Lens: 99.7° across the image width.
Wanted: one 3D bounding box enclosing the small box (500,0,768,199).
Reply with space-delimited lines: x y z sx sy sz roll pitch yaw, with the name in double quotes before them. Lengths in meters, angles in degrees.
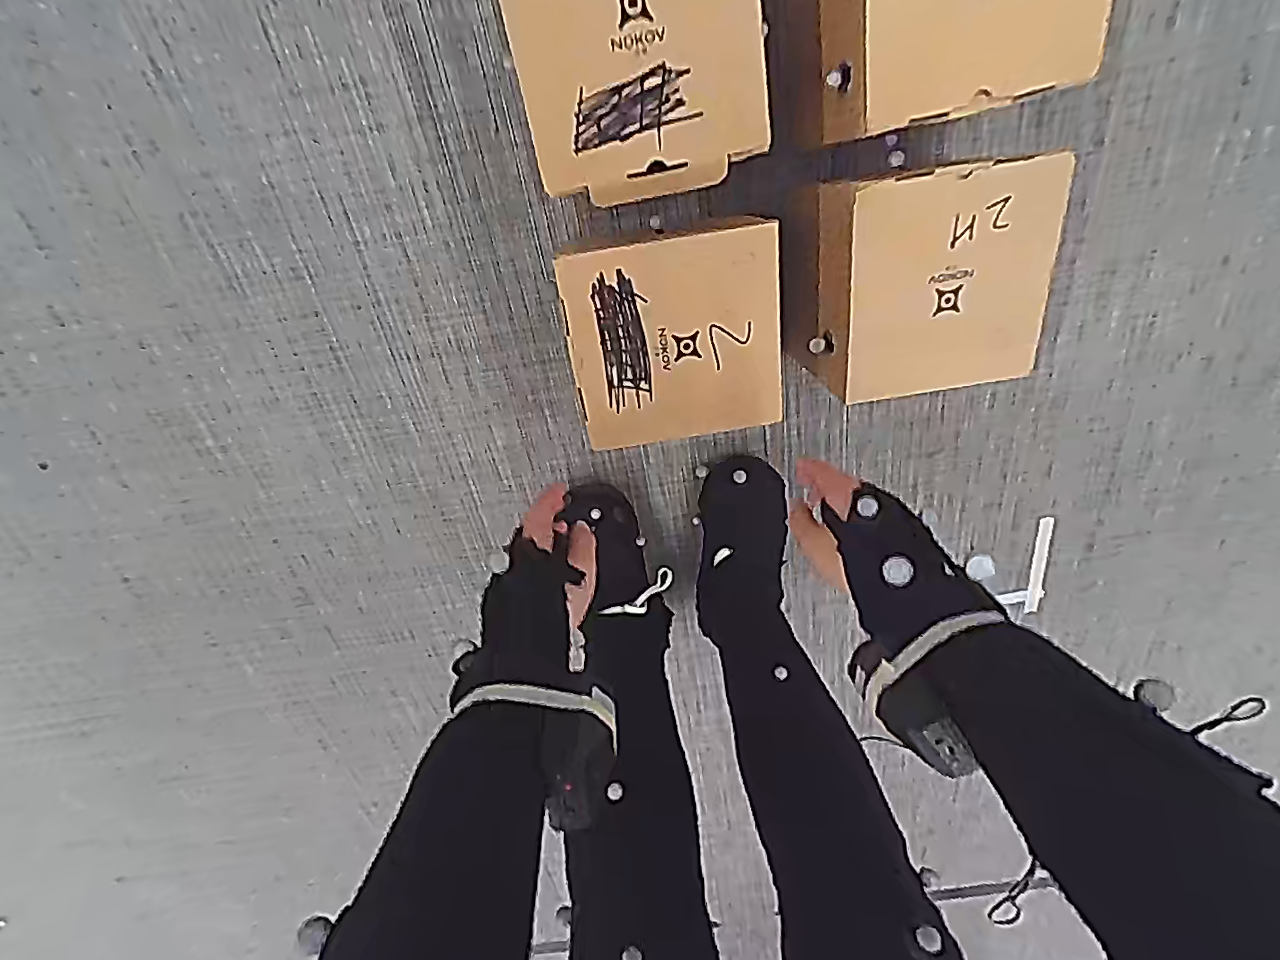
"small box" -0.006 -0.326 0.414 0.168 0.176 0.179 -10 116 1
